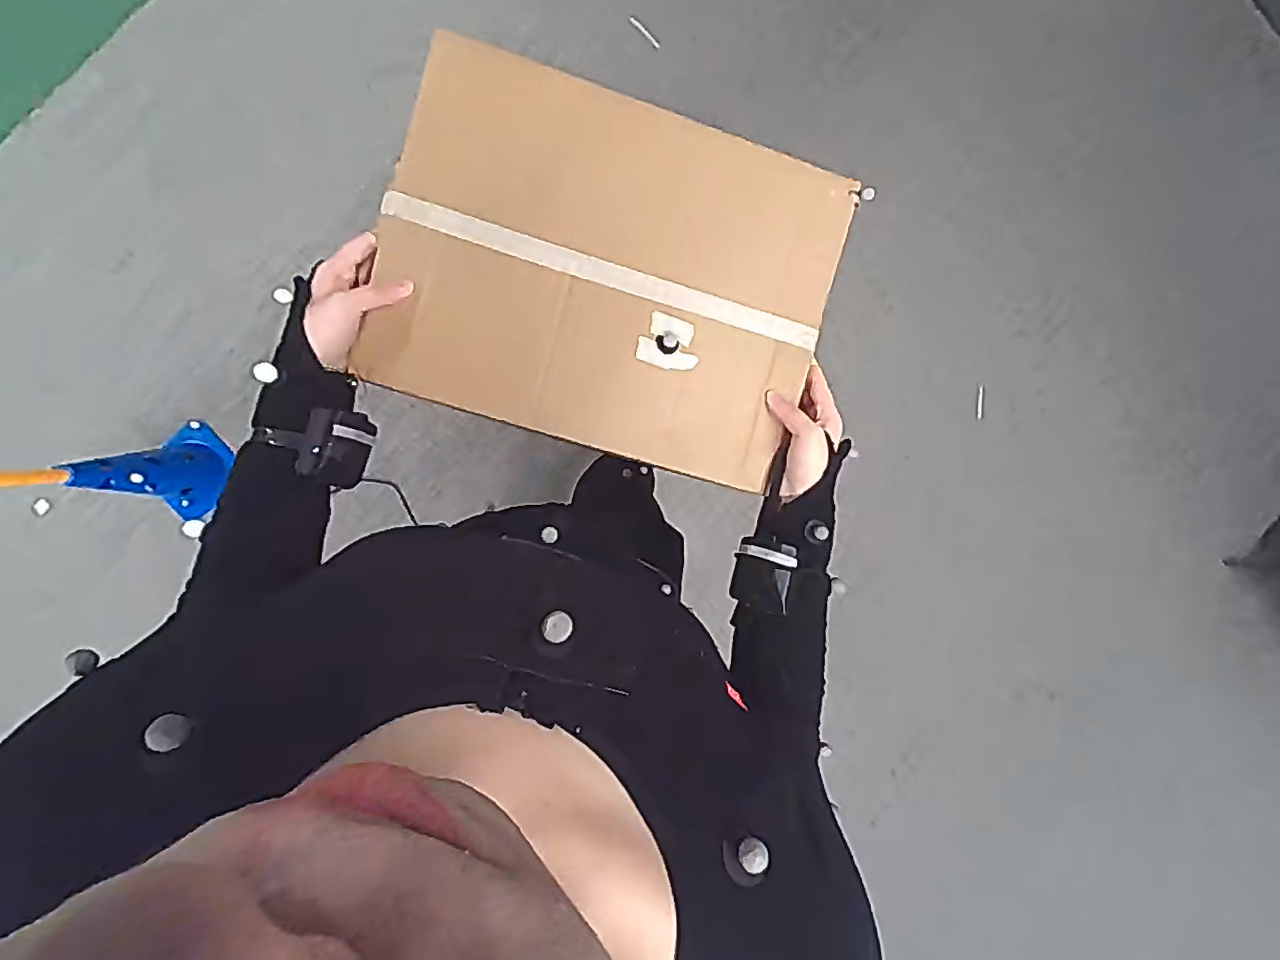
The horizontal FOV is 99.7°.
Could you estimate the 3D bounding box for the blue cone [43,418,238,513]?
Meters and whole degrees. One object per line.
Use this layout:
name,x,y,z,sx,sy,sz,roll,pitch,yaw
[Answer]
blue cone,-1.118,-0.030,1.199,0.193,0.380,0.192,-38,95,-5

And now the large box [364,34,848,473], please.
large box,-0.042,-0.209,0.652,0.408,0.320,0.320,15,92,-8
